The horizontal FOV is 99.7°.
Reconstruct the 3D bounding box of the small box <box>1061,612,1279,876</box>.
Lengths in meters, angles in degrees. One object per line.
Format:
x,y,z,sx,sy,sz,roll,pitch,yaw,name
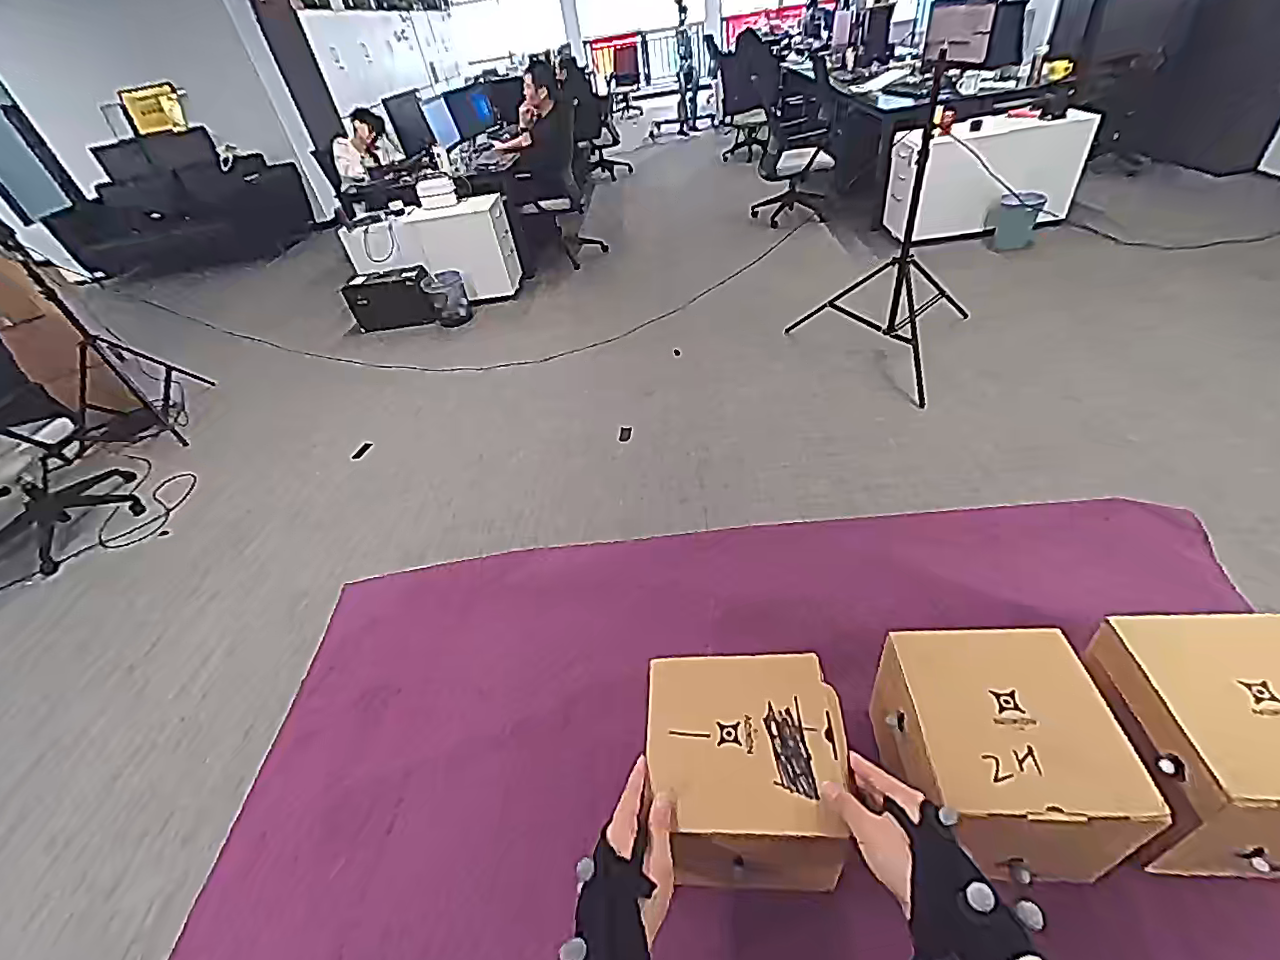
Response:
0.553,0.248,0.517,0.168,0.176,0.179,-4,40,9,small box

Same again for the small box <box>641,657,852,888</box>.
0.104,0.301,0.559,0.179,0.176,0.168,-5,41,9,small box
